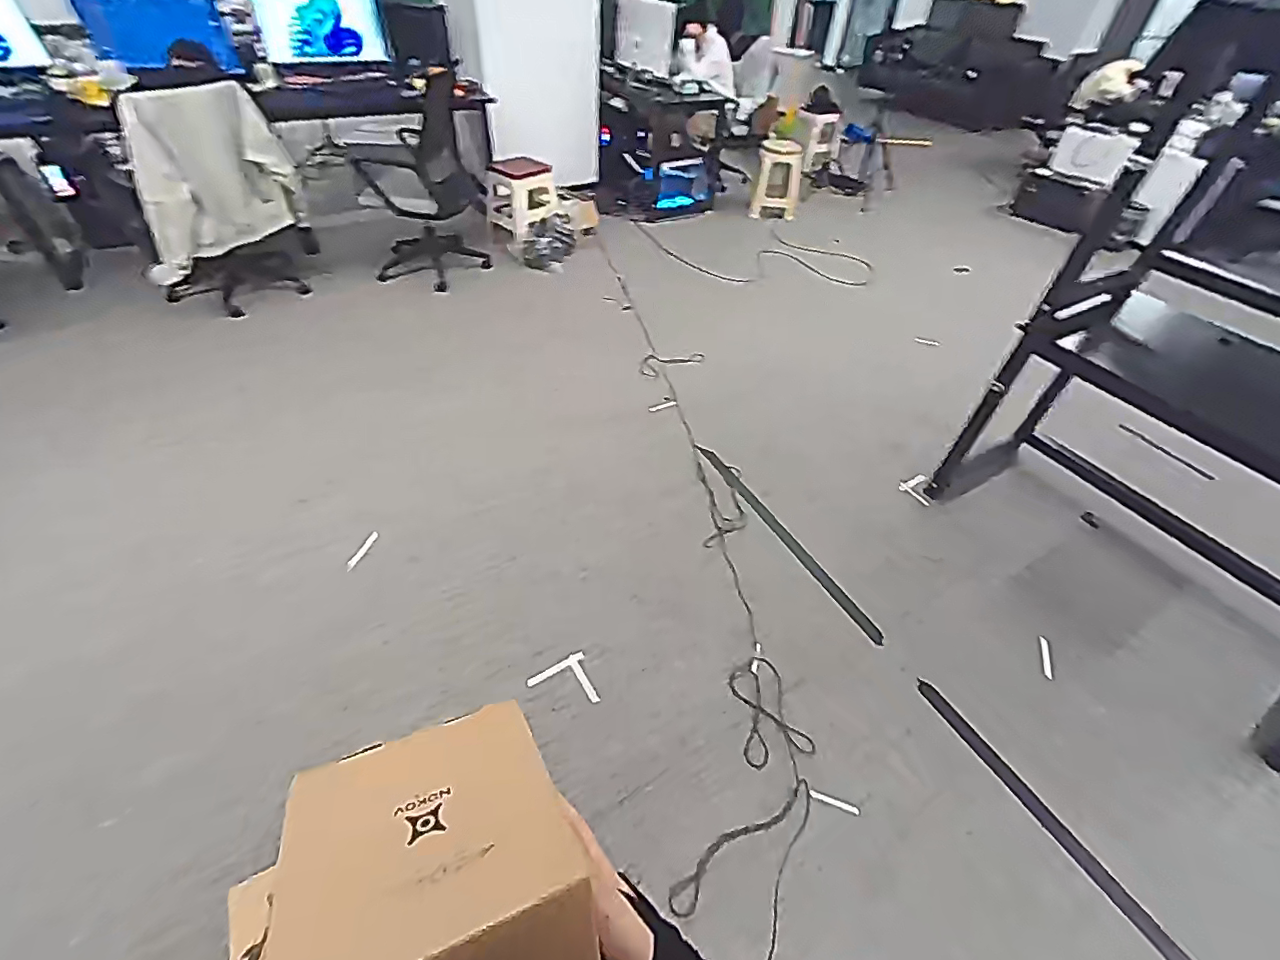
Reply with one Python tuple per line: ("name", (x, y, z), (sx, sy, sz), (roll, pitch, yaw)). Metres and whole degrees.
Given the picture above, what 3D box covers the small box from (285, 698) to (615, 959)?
("small box", (-0.125, 0.294, 0.371), (0.168, 0.176, 0.179), (-11, 20, -25))
